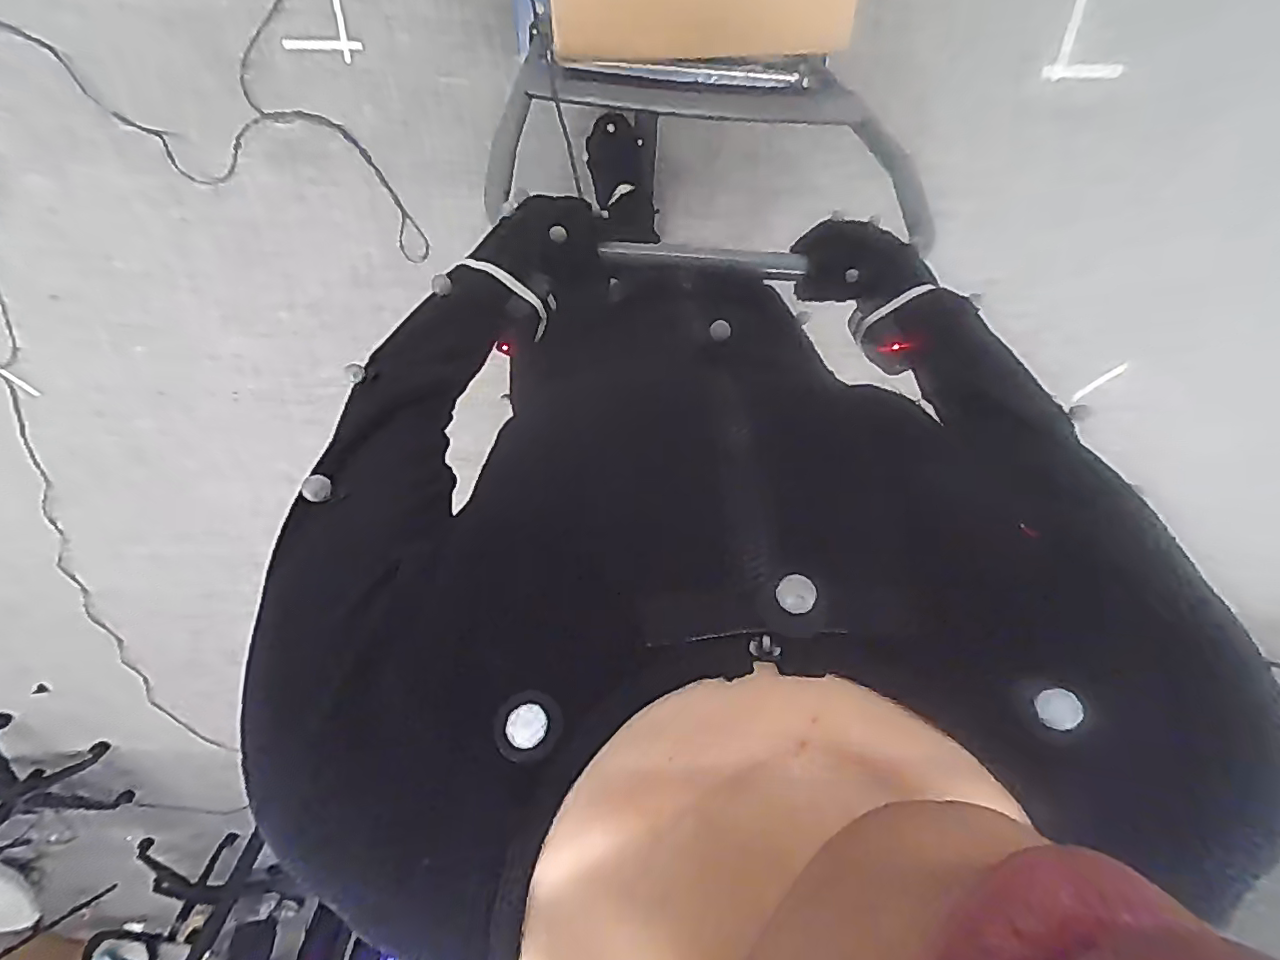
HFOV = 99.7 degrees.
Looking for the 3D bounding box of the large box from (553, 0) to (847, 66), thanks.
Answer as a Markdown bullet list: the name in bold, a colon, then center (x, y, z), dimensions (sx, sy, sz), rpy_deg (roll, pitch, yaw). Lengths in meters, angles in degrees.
- **large box**: center (0.069, -0.813, 0.756), dimensions (0.408, 0.320, 0.320), rpy_deg (-3, 138, -1)
